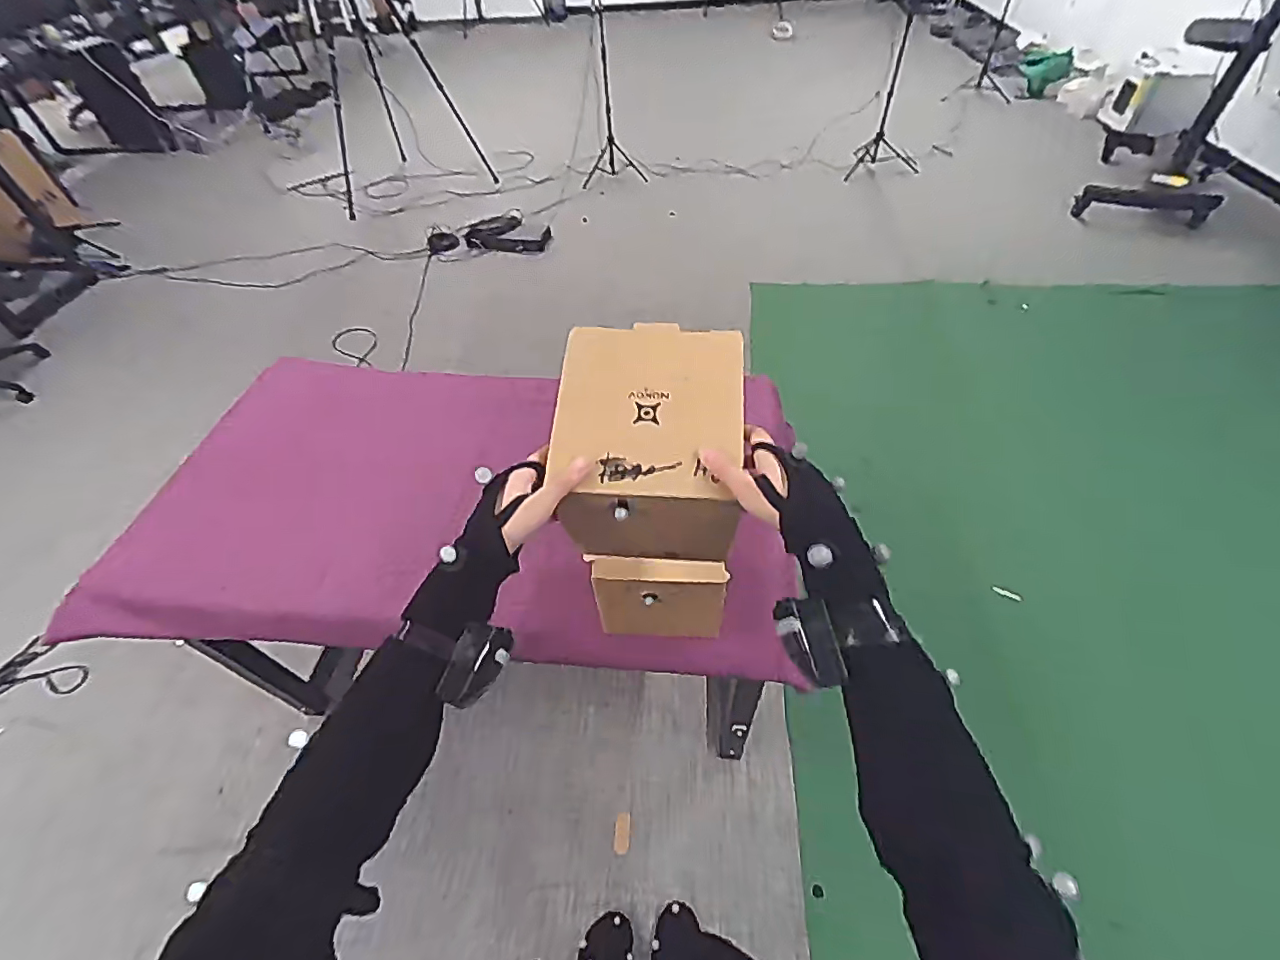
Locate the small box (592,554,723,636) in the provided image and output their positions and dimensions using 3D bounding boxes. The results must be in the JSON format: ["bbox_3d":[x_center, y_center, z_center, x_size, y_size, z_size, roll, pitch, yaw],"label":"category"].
[{"bbox_3d":[0.032,0.123,0.814,0.179,0.176,0.168,1,50,4],"label":"small box"}]

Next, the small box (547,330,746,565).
[{"bbox_3d":[0.015,-0.028,0.553,0.168,0.176,0.179,3,63,6],"label":"small box"}]
